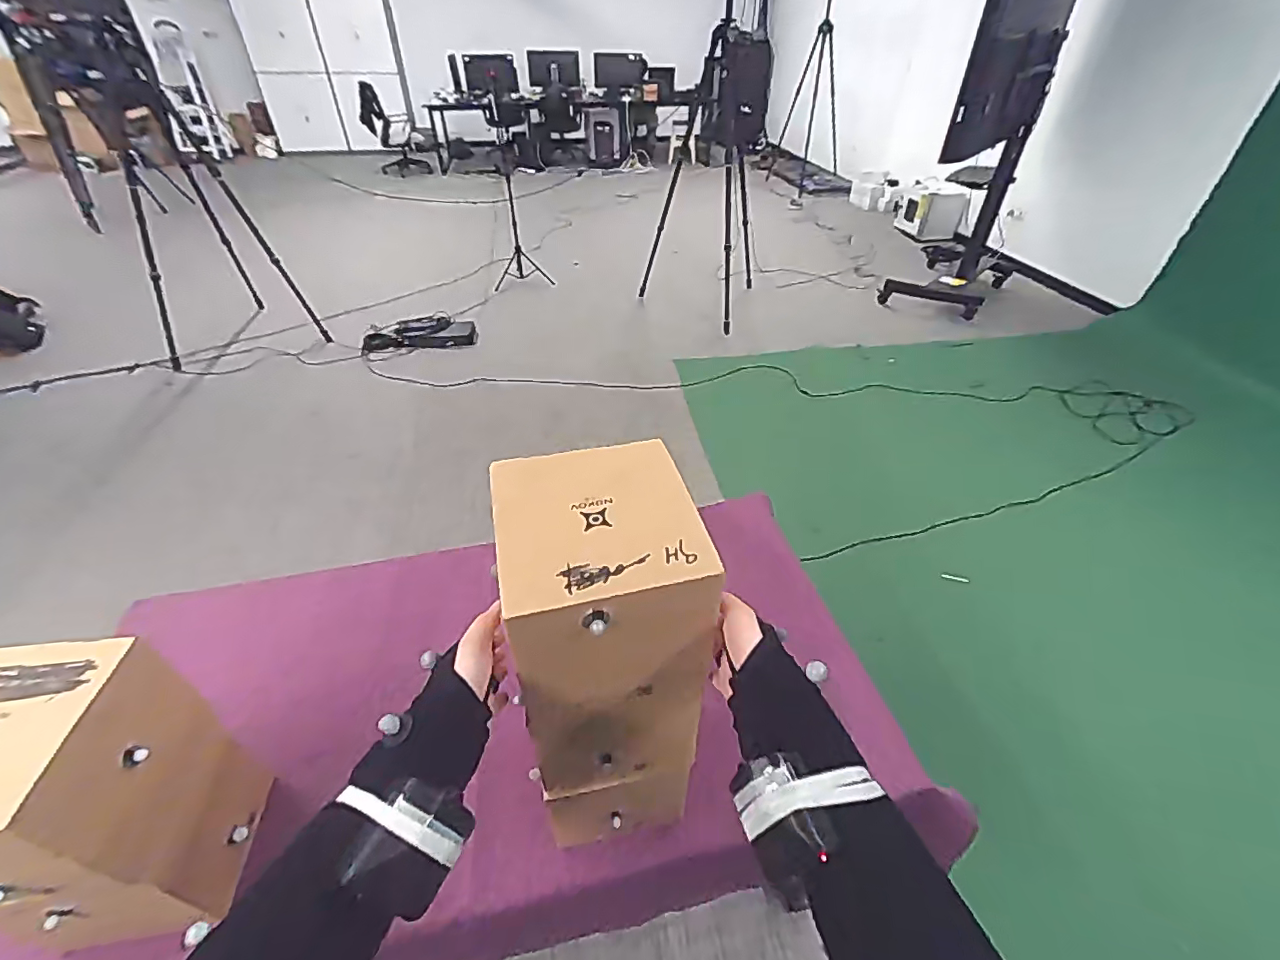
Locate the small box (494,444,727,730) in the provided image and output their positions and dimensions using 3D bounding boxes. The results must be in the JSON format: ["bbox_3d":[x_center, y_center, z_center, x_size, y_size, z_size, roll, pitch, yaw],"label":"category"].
[{"bbox_3d":[-0.035,0.093,0.498,0.168,0.176,0.179,-10,41,-11],"label":"small box"}]

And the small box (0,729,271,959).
[{"bbox_3d":[-0.575,0.417,0.621,0.179,0.176,0.168,-5,41,-8],"label":"small box"}]

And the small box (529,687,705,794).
[{"bbox_3d":[-0.036,0.216,0.607,0.168,0.176,0.179,-8,42,-9],"label":"small box"}]

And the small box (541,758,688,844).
[{"bbox_3d":[-0.040,0.346,0.706,0.168,0.176,0.179,-8,41,-9],"label":"small box"}]
